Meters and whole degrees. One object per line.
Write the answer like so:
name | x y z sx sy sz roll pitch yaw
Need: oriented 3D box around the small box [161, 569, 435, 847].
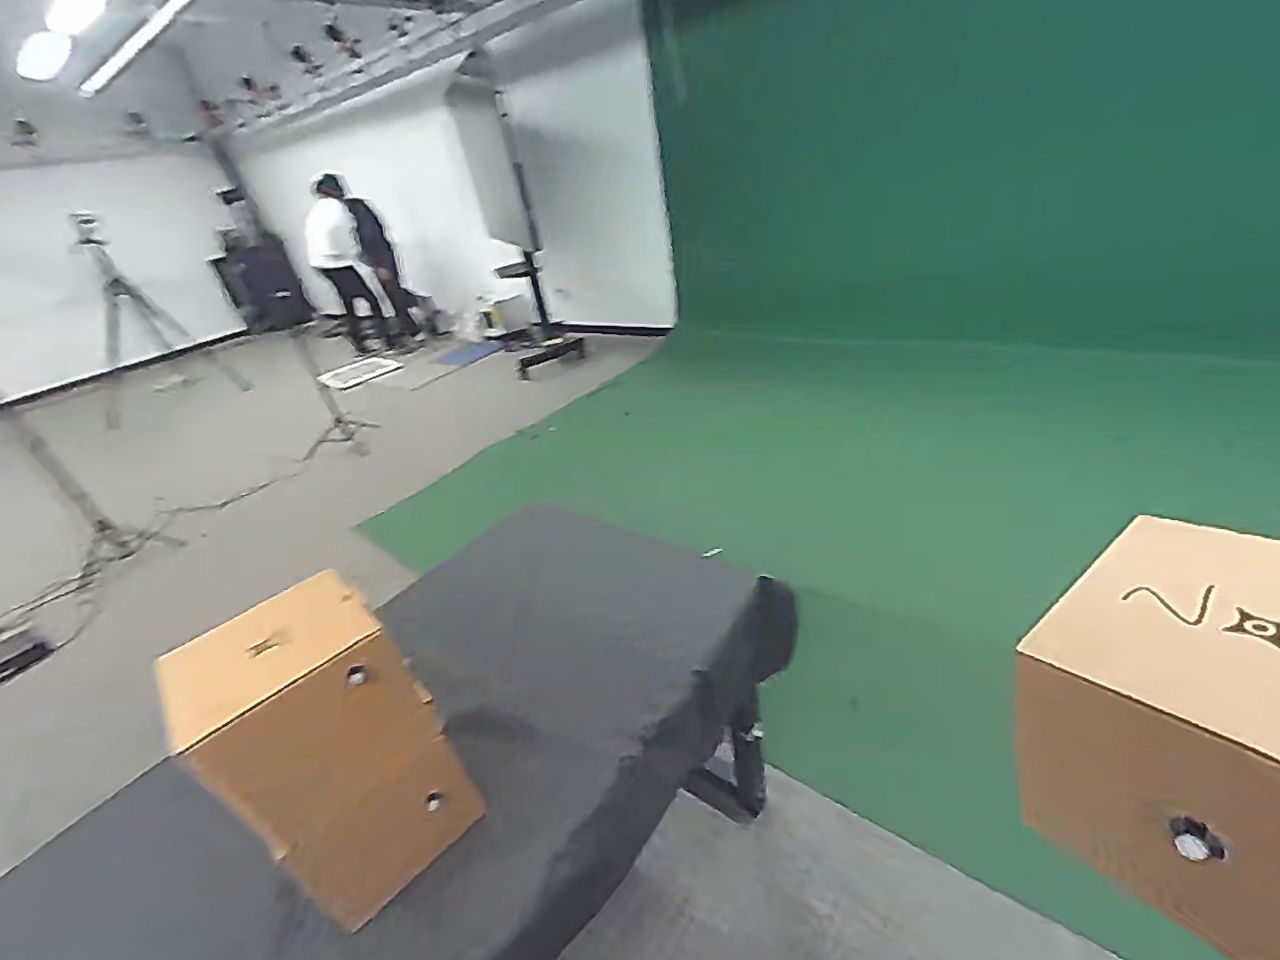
small box | -0.353 0.233 0.574 0.179 0.176 0.168 -33 36 -33

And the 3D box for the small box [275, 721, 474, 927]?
small box | -0.323 0.372 0.654 0.179 0.176 0.168 -34 37 -33
